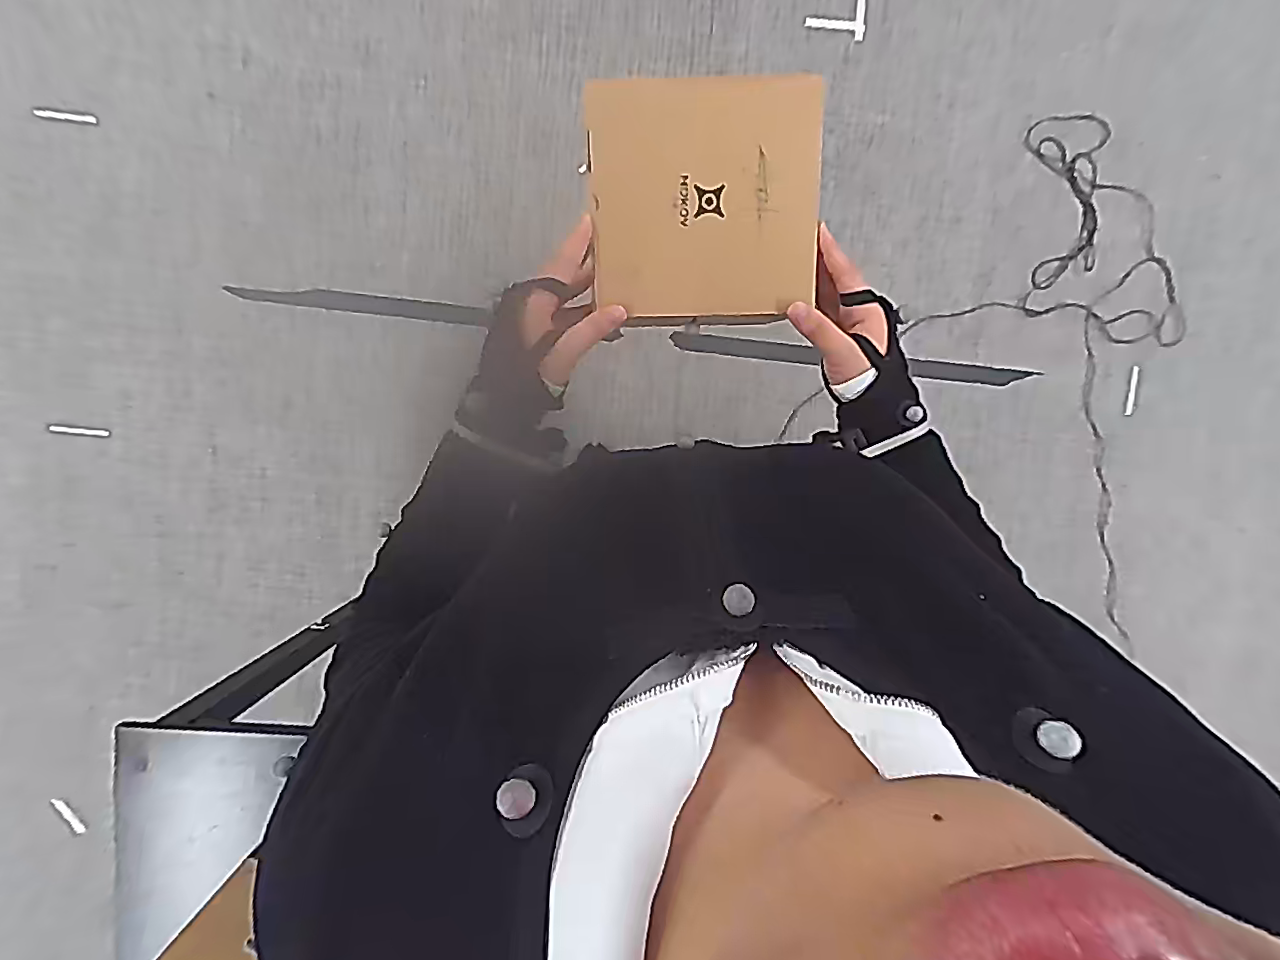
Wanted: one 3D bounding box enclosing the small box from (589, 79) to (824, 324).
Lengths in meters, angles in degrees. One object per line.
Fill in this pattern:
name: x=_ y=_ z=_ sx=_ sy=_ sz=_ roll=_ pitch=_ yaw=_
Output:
small box: x=0.051 y=-0.233 z=0.495 sx=0.179 sy=0.176 sz=0.168 roll=-2 pitch=104 yaw=0
